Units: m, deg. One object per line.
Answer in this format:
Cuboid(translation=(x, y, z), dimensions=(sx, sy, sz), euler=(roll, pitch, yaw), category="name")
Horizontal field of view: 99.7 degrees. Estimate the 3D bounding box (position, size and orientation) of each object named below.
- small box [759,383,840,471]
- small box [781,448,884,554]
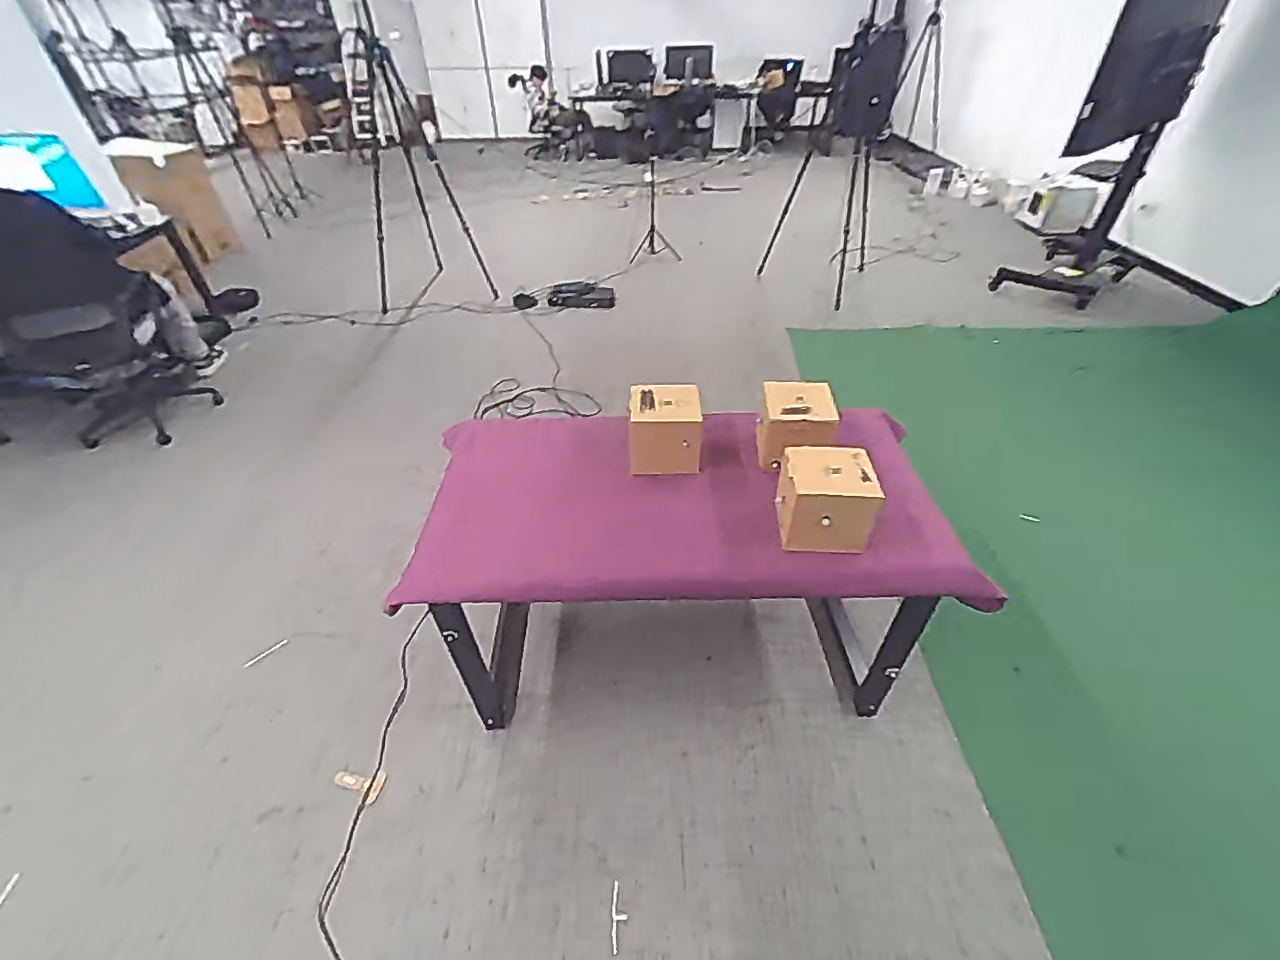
Cuboid(translation=(0.402, -0.131, 1.391), dimensions=(0.168, 0.176, 0.179), euler=(3, 41, 5), category="small box")
Cuboid(translation=(0.409, 0.047, 1.185), dimensions=(0.179, 0.176, 0.168), euler=(2, 40, 5), category="small box")
